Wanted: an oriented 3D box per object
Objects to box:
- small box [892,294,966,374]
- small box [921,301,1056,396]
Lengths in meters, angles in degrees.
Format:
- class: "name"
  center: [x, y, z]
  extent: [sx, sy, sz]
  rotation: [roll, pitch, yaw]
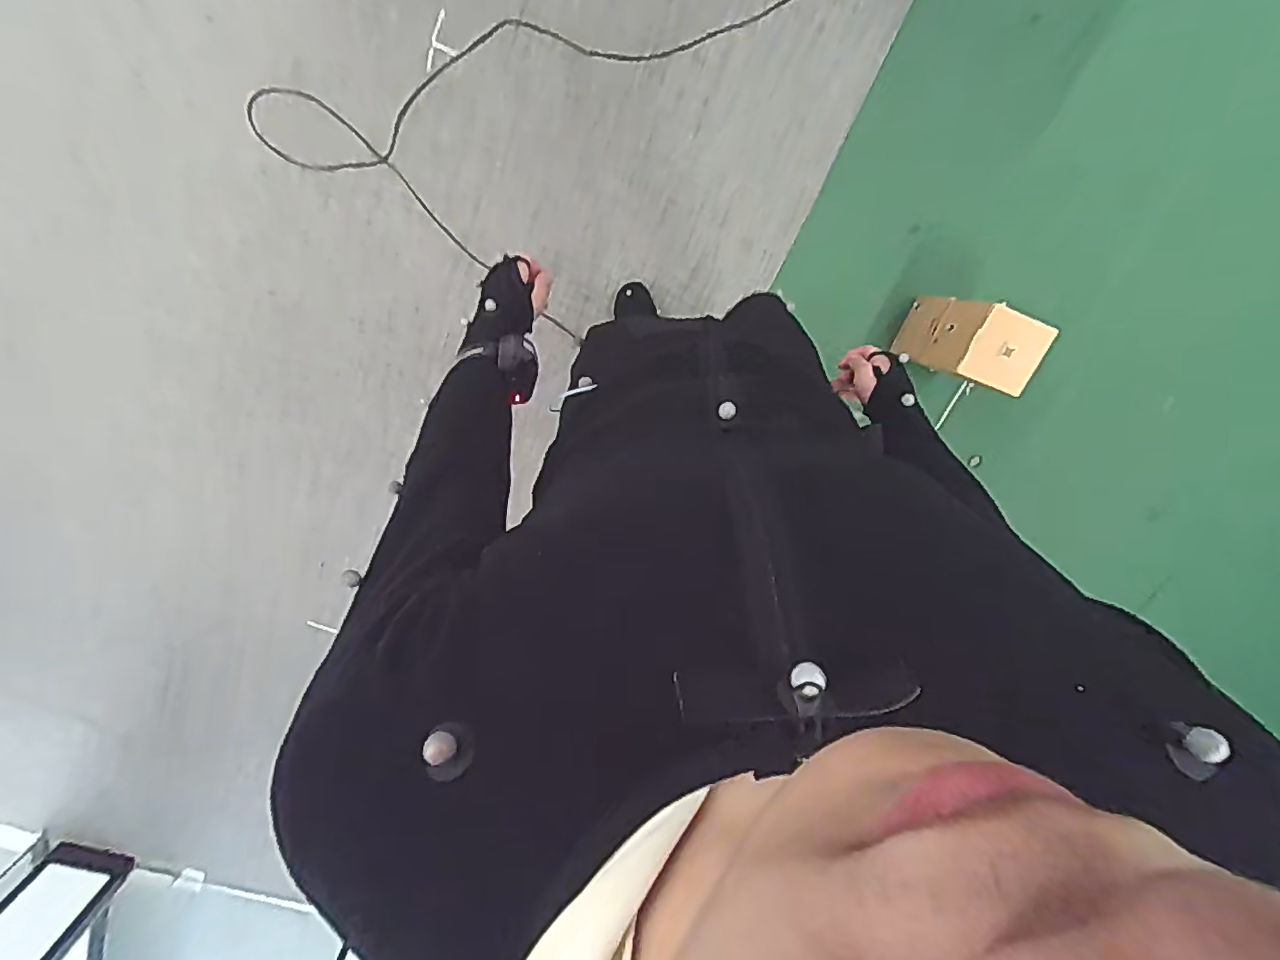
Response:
- class: "small box"
  center: [0.820, -0.388, 1.456]
  extent: [0.179, 0.176, 0.168]
  rotation: [20, 109, -9]
- class: "small box"
  center: [0.830, -0.325, 1.307]
  extent: [0.179, 0.176, 0.168]
  rotation: [19, 109, -8]
